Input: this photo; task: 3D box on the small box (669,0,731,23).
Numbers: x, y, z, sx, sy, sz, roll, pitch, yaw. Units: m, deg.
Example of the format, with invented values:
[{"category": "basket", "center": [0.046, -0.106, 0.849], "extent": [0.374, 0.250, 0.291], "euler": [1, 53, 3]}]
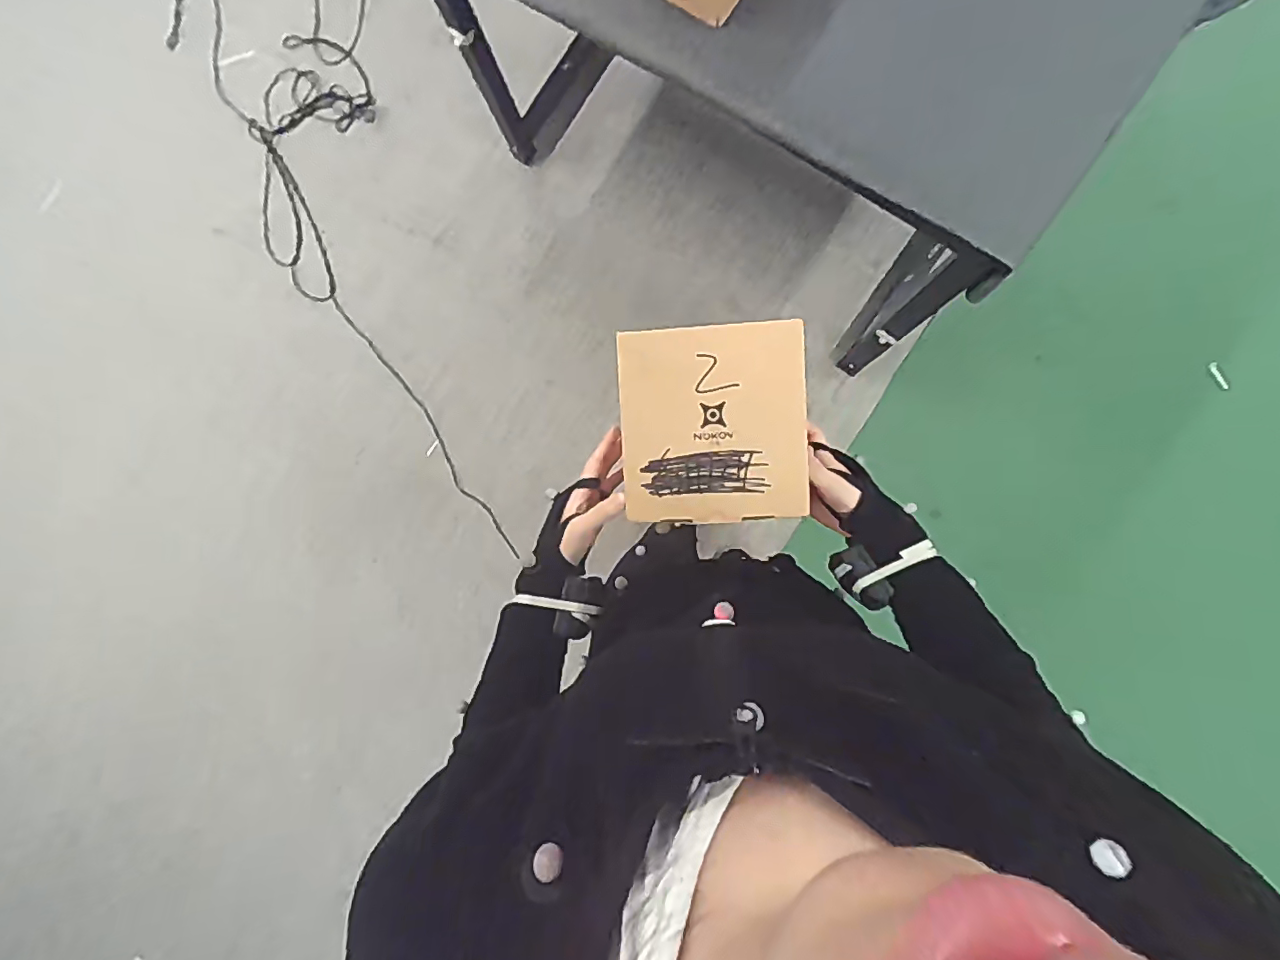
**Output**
[{"category": "small box", "center": [0.088, -0.788, 0.724], "extent": [0.168, 0.176, 0.179], "euler": [35, 90, 4]}]
